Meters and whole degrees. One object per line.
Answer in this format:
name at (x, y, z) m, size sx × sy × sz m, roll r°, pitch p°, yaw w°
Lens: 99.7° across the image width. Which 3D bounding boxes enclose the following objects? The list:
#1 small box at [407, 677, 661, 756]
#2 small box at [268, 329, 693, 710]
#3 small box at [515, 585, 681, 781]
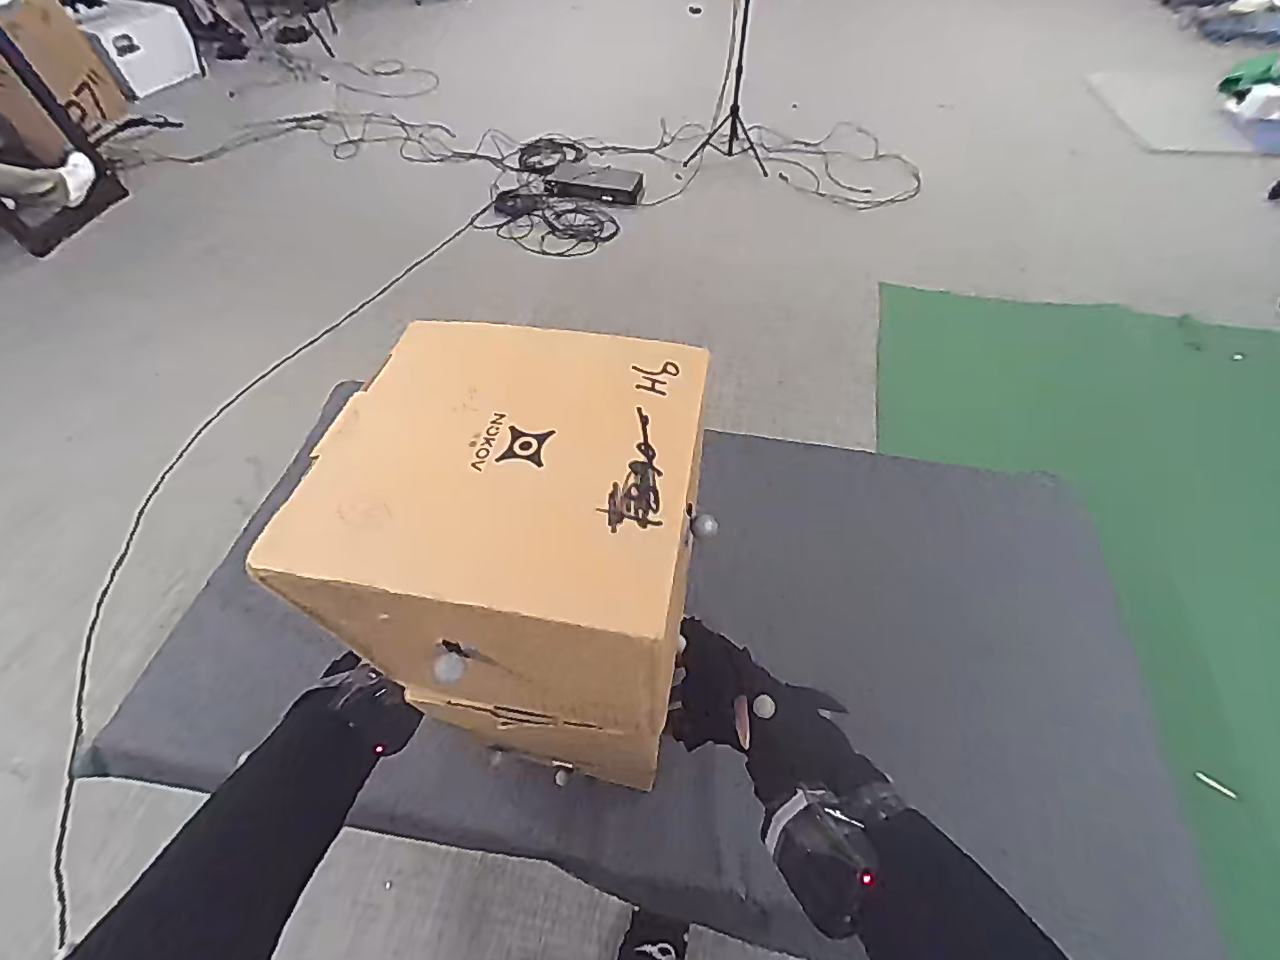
small box at (-0.063, 0.126, 0.463) m, size 0.168 × 0.176 × 0.179 m, roll 3°, pitch 55°, yaw 5°
small box at (-0.064, 0.028, 0.335) m, size 0.179 × 0.176 × 0.168 m, roll 5°, pitch 52°, yaw 6°
small box at (-0.051, 0.214, 0.602) m, size 0.168 × 0.176 × 0.179 m, roll 8°, pitch 56°, yaw 9°
